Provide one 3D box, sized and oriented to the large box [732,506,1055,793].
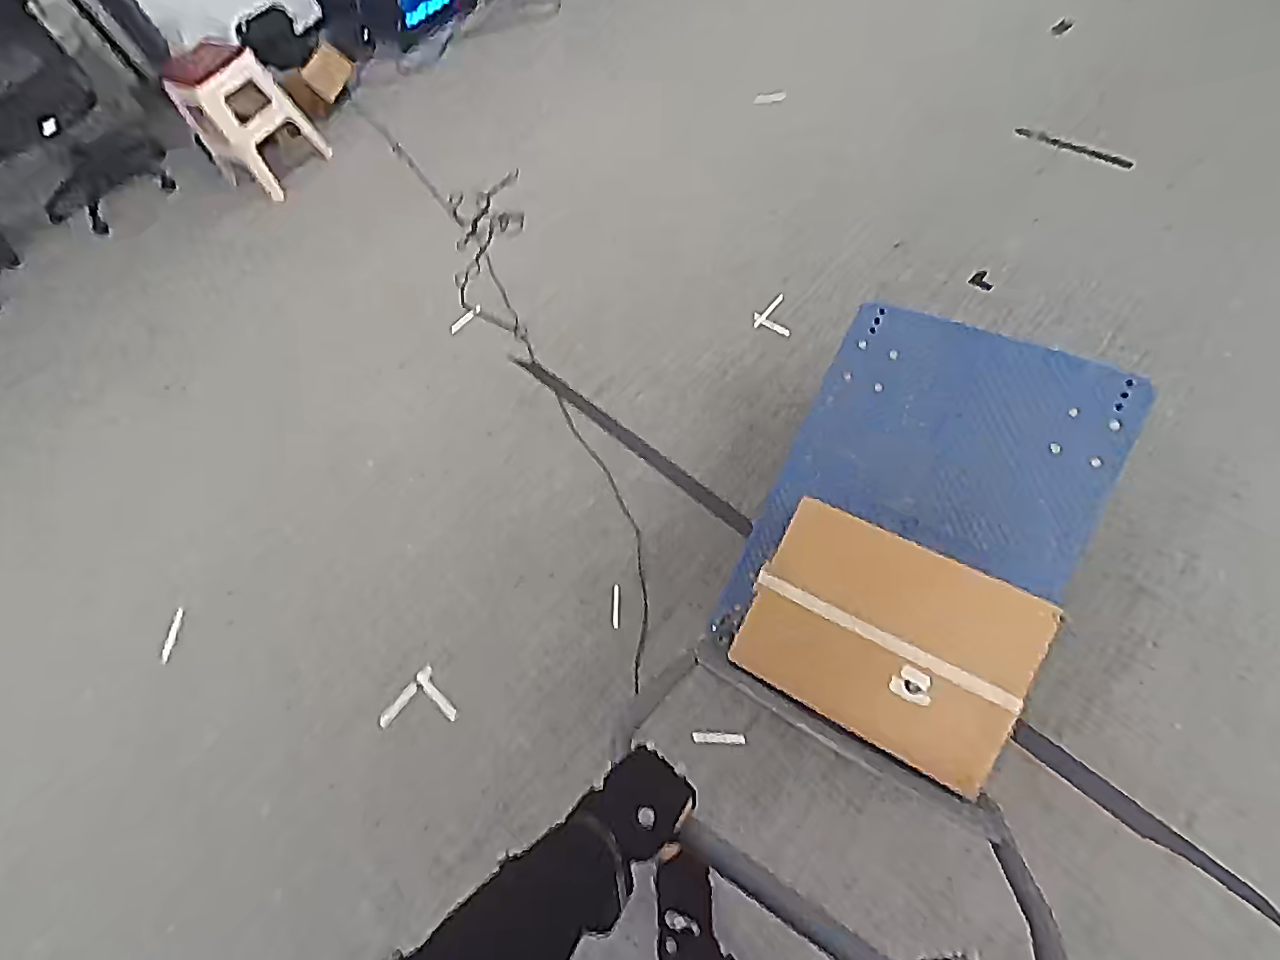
[{"bbox_3d":[0.433,0.277,1.011,0.408,0.320,0.320,25,91,20],"label":"large box"}]
